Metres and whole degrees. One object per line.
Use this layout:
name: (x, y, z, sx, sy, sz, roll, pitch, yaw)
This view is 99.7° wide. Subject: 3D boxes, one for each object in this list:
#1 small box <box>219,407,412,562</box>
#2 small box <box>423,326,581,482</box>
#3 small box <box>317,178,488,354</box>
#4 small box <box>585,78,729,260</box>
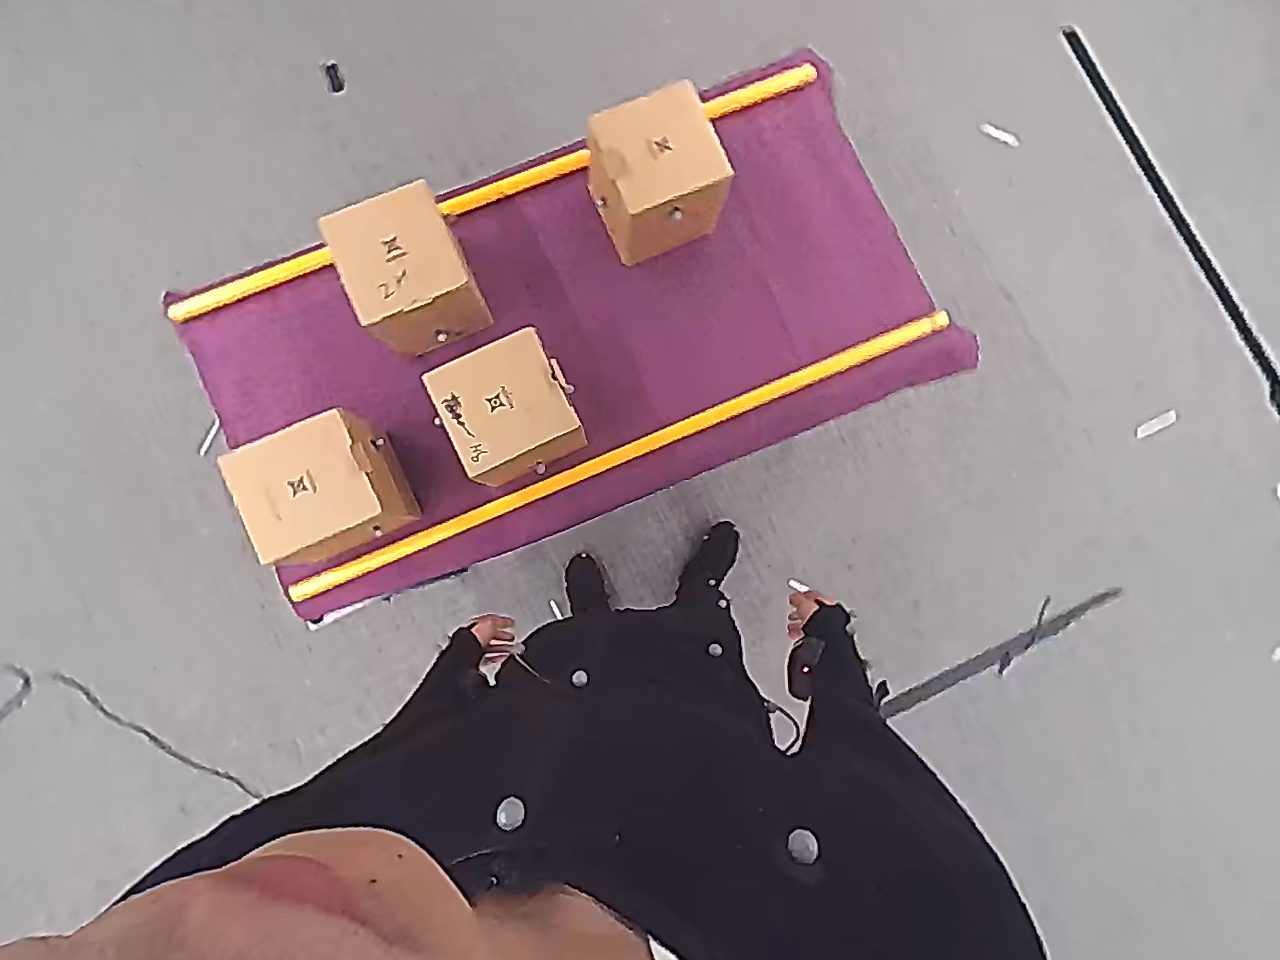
small box: (-0.471, 0.012, 0.821, 0.179, 0.176, 0.168, -25, 86, -7)
small box: (-0.202, -0.108, 0.846, 0.179, 0.176, 0.168, -26, 86, -5)
small box: (-0.363, -0.327, 0.859, 0.168, 0.176, 0.179, -24, 88, -4)
small box: (0.021, -0.501, 0.894, 0.179, 0.176, 0.168, -24, 87, -4)
